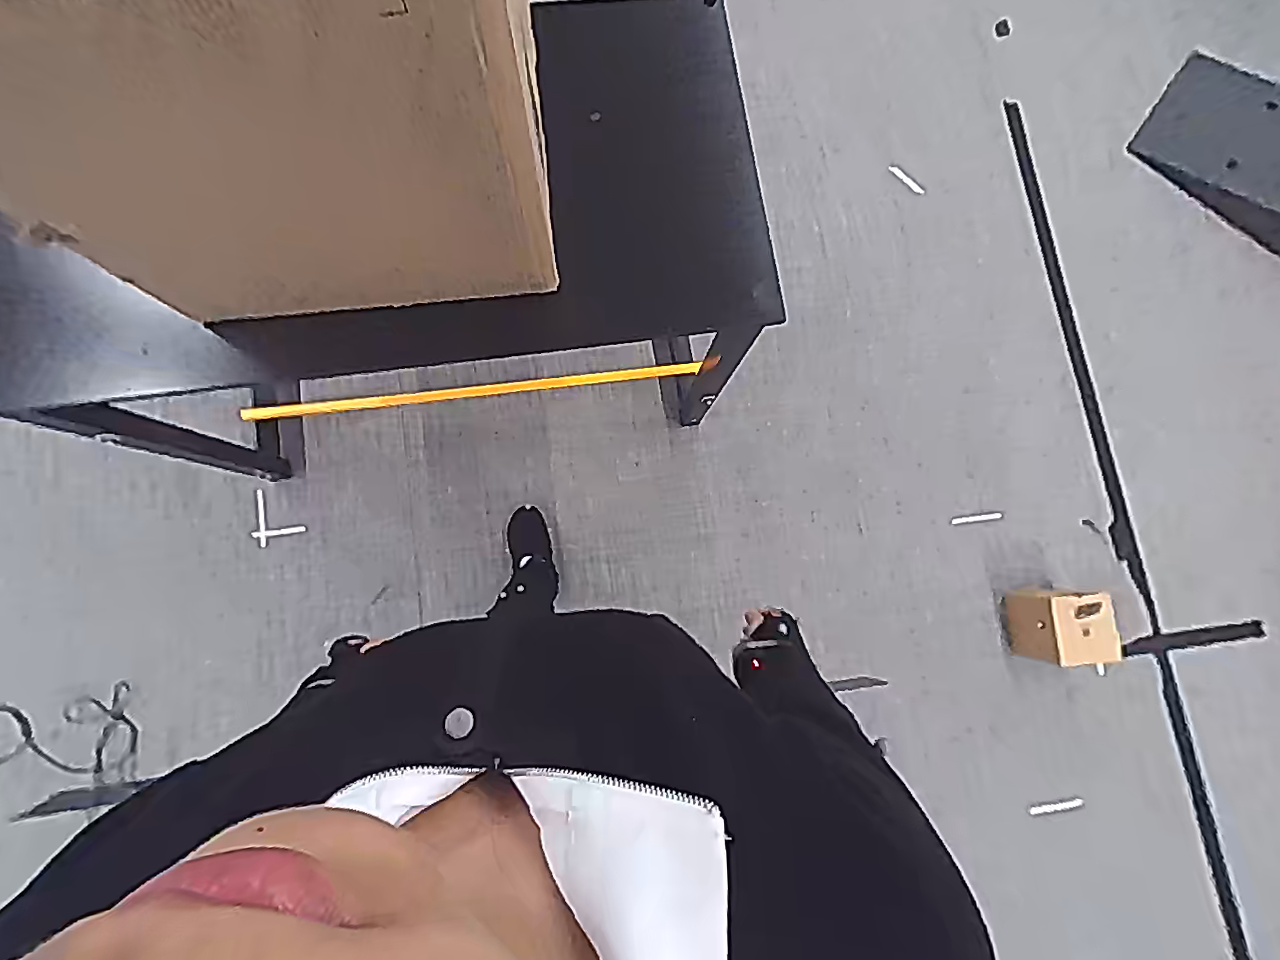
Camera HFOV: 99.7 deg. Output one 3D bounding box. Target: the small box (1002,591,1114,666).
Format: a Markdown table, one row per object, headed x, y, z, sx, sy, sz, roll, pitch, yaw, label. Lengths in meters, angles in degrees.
| x | y | z | sx | sy | sz | roll | pitch | yaw | label |
| --- | --- | --- | --- | --- | --- | --- | --- | --- | --- |
| 1.124 | 0.395 | 1.469 | 0.168 | 0.176 | 0.179 | -3 | 83 | -4 | small box |
